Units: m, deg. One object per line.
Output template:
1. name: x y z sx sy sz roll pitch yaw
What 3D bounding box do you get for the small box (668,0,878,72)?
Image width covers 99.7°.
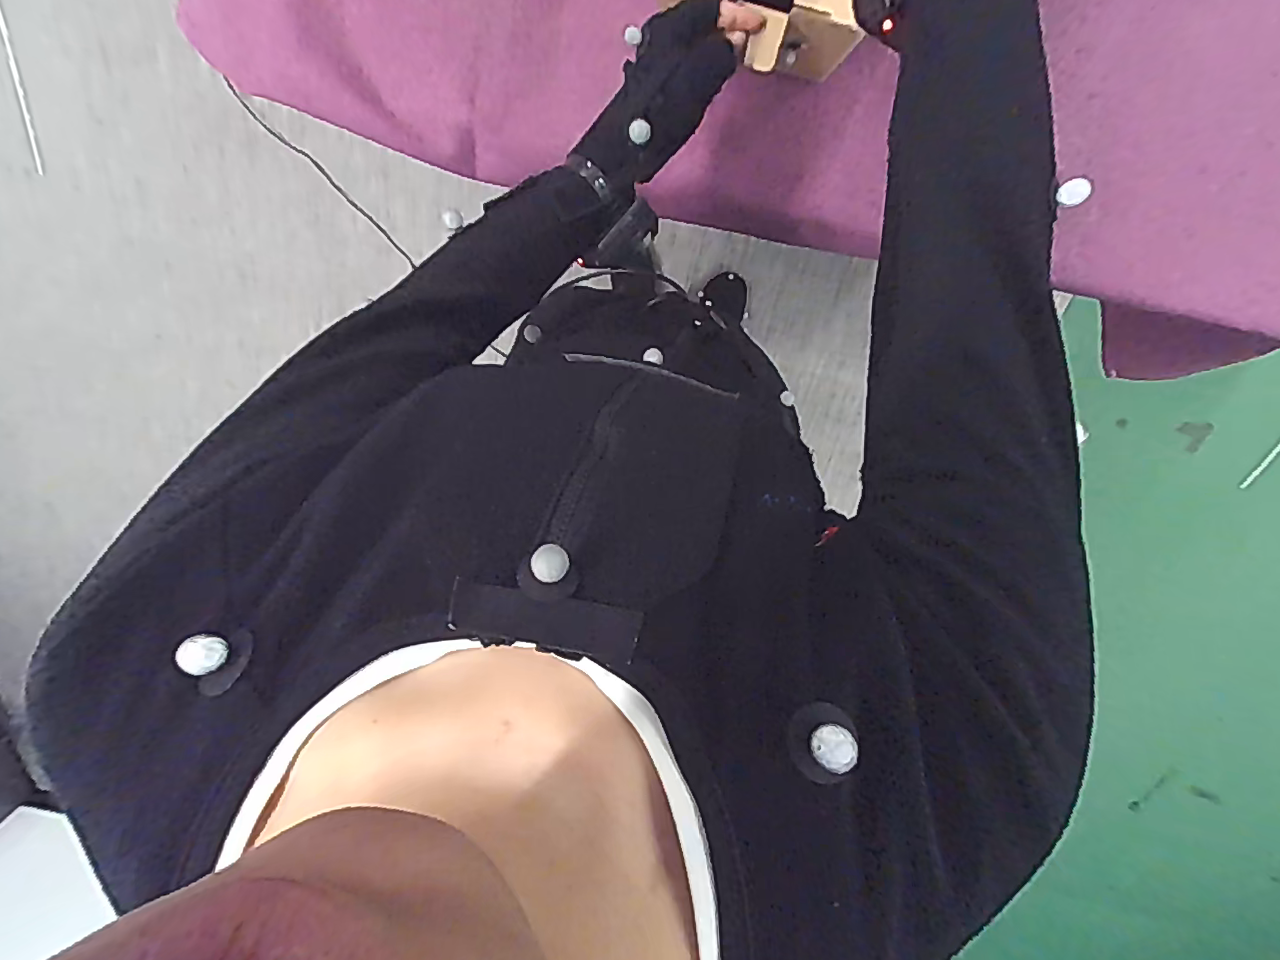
1. small box: 0.119 -0.458 0.425 0.168 0.176 0.179 16 116 -2
